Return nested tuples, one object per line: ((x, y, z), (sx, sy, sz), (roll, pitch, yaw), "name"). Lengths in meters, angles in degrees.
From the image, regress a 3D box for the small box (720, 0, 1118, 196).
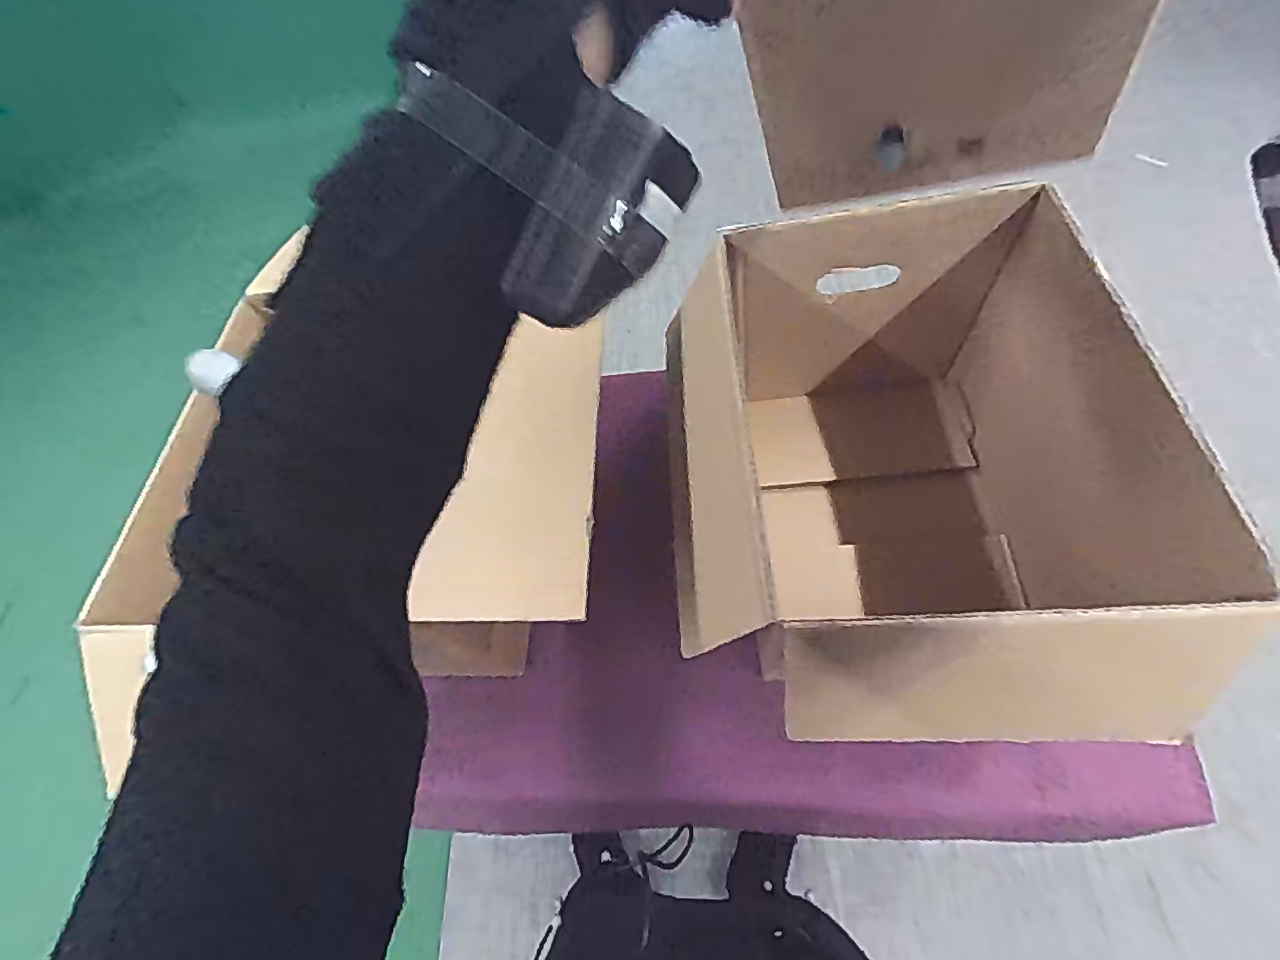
((0.133, -0.284, 0.269), (0.168, 0.176, 0.179), (1, 76, 25), "small box")
